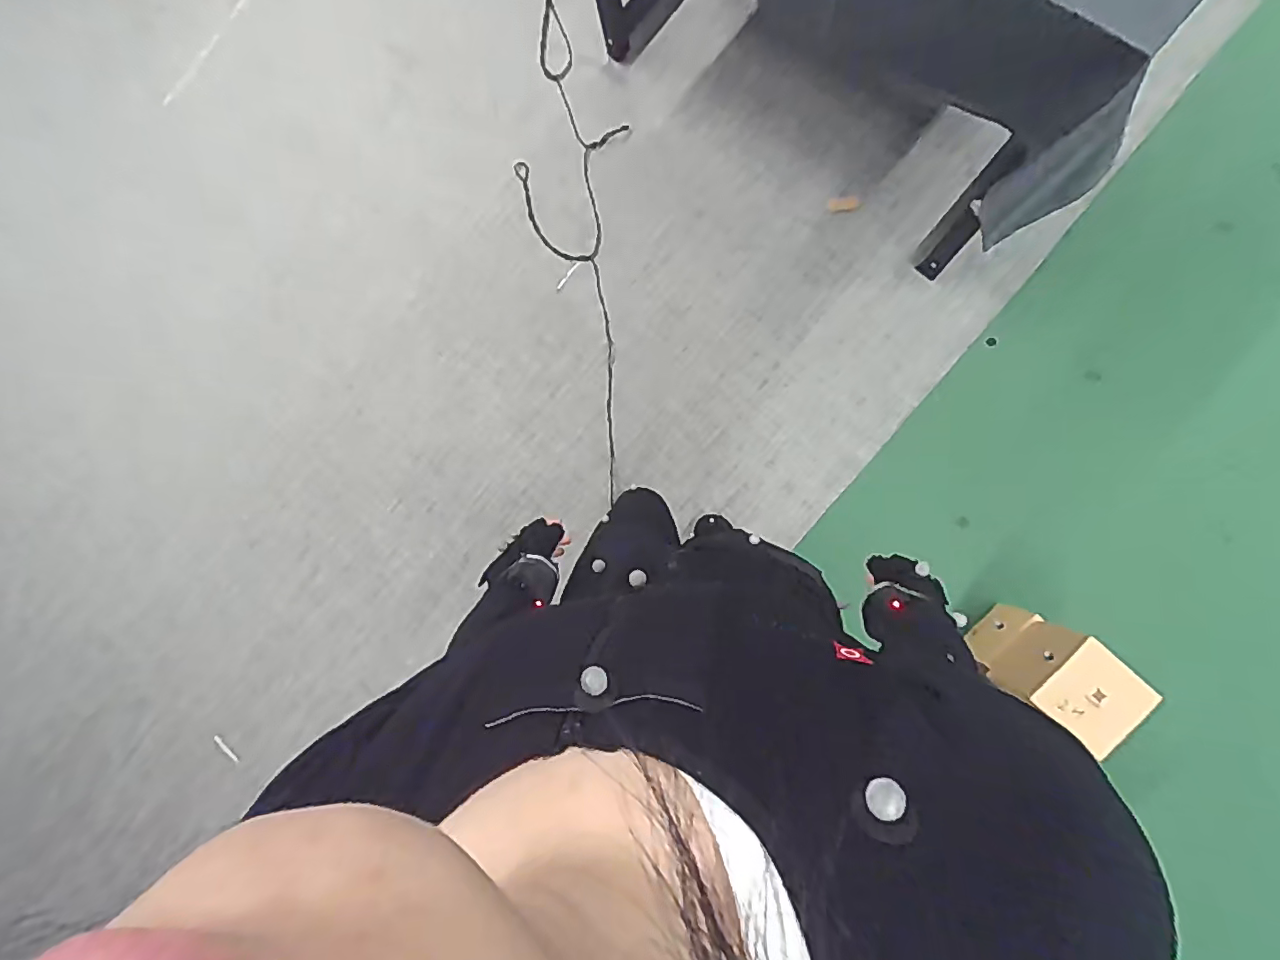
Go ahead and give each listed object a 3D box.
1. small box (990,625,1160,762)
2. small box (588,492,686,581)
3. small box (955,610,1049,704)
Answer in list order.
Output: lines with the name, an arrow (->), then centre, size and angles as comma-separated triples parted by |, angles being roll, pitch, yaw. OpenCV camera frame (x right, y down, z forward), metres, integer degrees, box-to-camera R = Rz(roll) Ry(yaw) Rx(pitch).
small box -> 0.873, 0.423, 1.108 | 0.168, 0.176, 0.179 | 44, 91, 8
small box -> -0.012, 0.147, 1.408 | 0.179, 0.176, 0.168 | 31, 95, 27
small box -> 0.892, 0.424, 1.272 | 0.168, 0.176, 0.179 | -45, 82, 1
